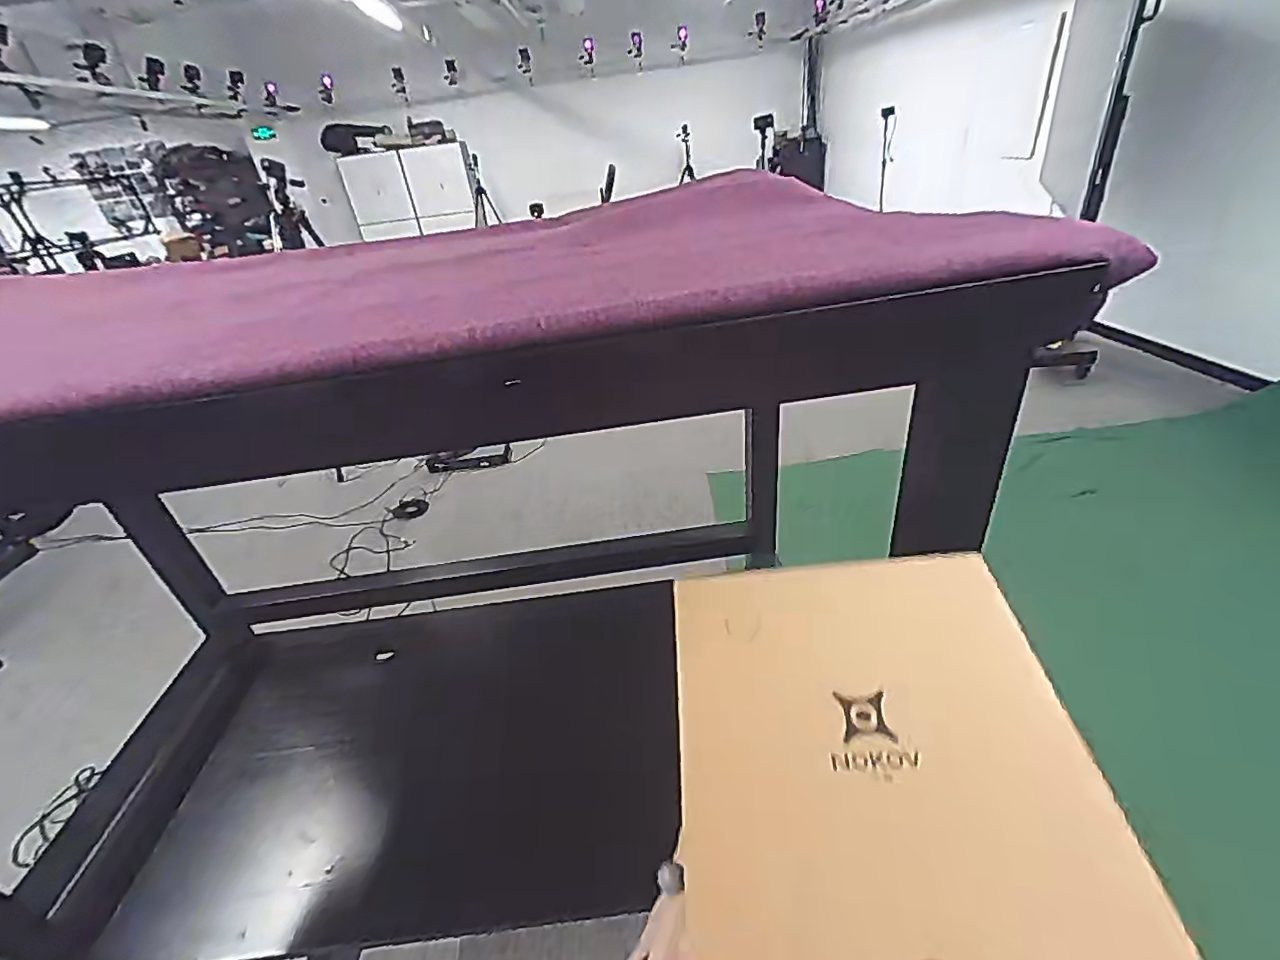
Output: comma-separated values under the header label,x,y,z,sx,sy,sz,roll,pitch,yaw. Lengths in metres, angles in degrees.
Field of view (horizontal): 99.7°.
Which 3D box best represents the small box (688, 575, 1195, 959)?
label,x,y,z,sx,sy,sz,roll,pitch,yaw
small box,0.116,0.176,0.295,0.168,0.176,0.179,-6,44,6
